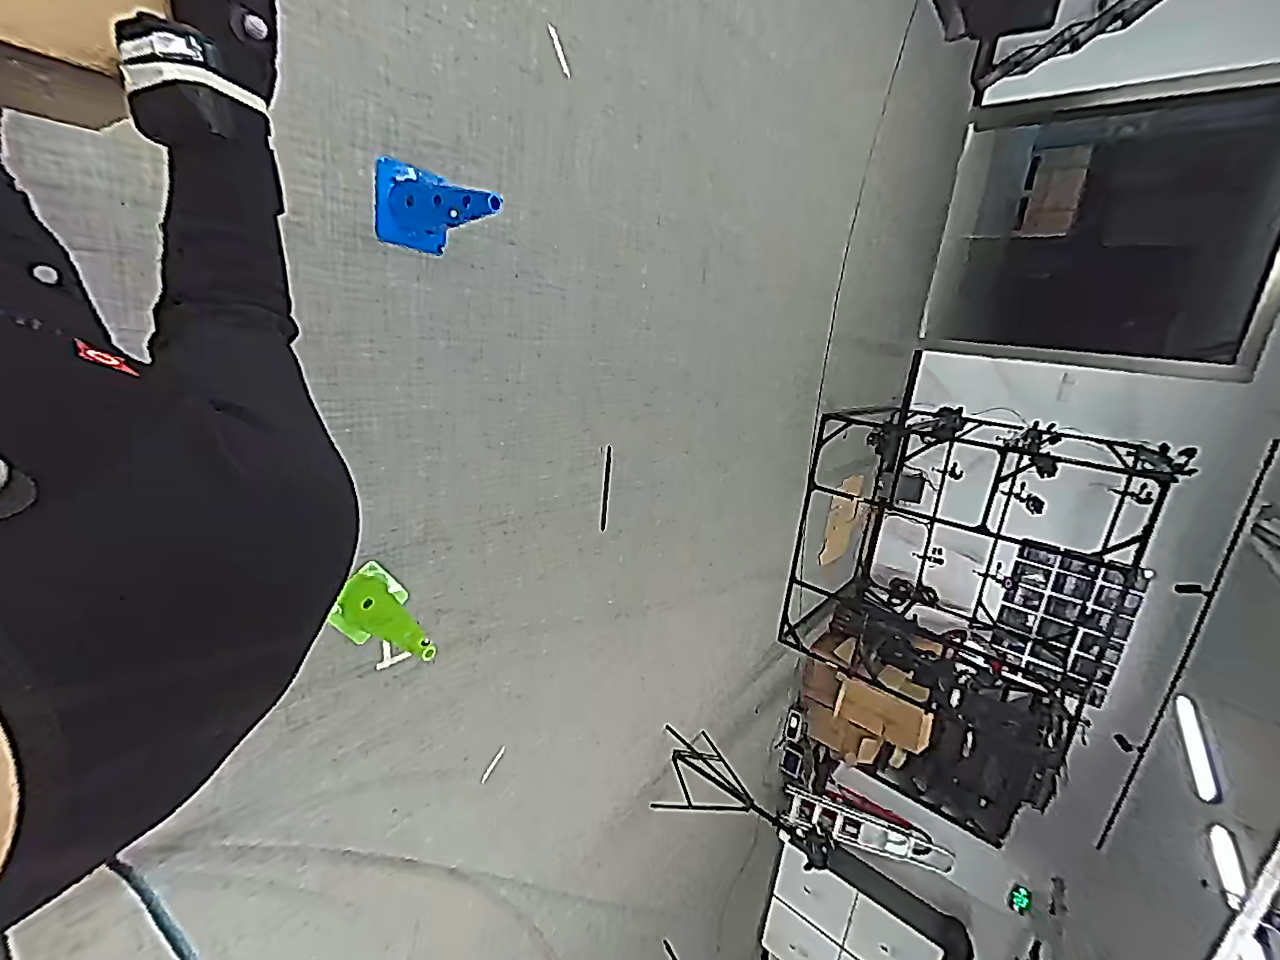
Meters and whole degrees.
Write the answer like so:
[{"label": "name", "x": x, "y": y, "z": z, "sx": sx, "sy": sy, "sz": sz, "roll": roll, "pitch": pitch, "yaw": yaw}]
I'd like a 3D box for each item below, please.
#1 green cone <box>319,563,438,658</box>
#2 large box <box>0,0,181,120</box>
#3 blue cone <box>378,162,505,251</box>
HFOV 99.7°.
[{"label": "green cone", "x": -0.690, "y": 0.414, "z": 1.519, "sx": 0.202, "sy": 0.368, "sz": 0.200, "roll": -52, "pitch": 140, "yaw": -28}, {"label": "large box", "x": -0.553, "y": -0.443, "z": 0.281, "sx": 0.408, "sy": 0.320, "sz": 0.320, "roll": -13, "pitch": 118, "yaw": -51}, {"label": "blue cone", "x": -0.481, "y": -0.687, "z": 1.356, "sx": 0.192, "sy": 0.380, "sz": 0.193, "roll": -8, "pitch": 111, "yaw": -53}]
